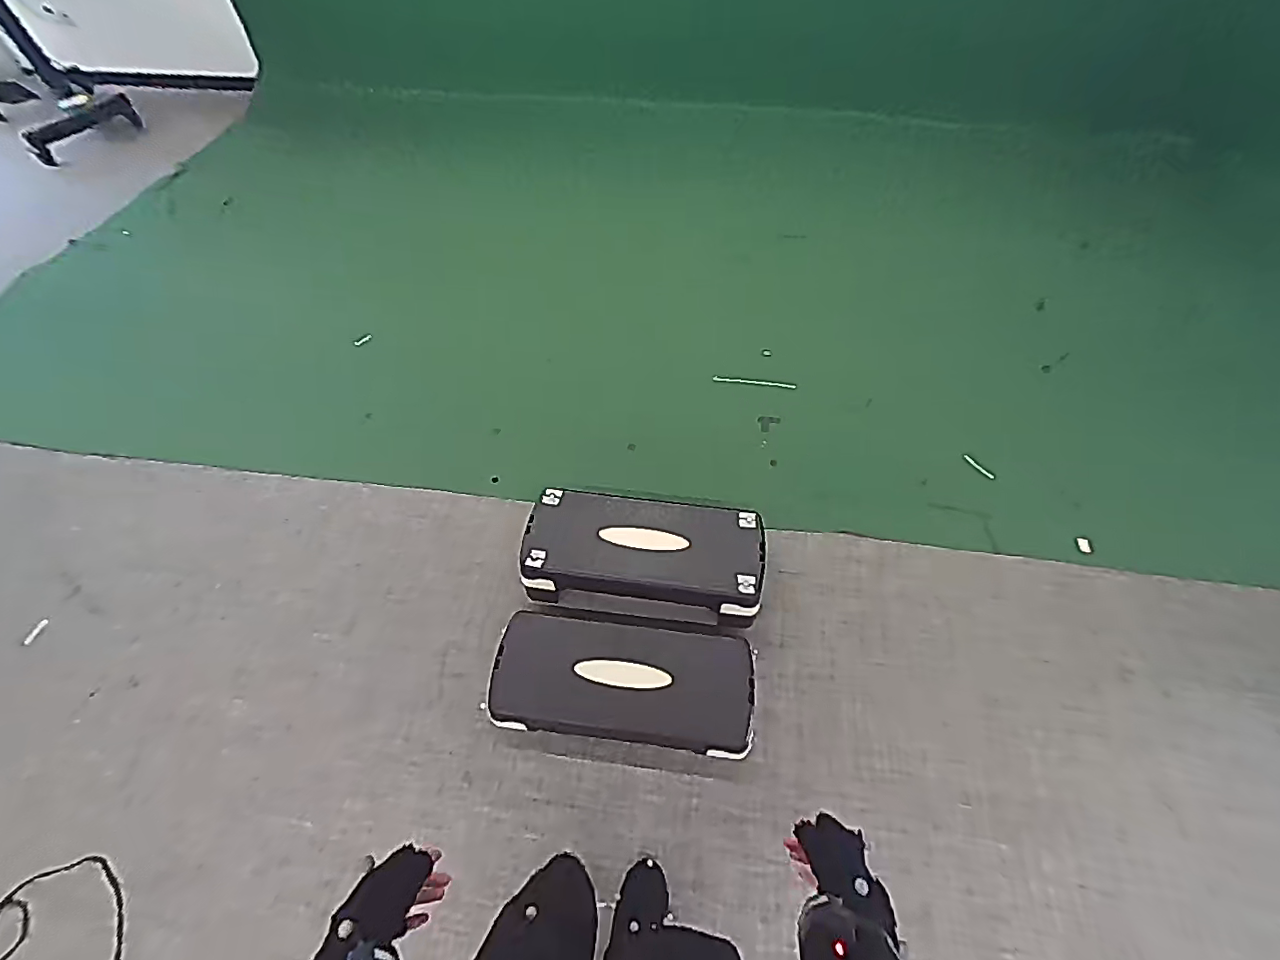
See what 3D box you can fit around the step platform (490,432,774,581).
[{"bbox_3d":[-0.016,0.070,1.396,0.684,0.204,0.286,6,55,5],"label":"step platform"}]
